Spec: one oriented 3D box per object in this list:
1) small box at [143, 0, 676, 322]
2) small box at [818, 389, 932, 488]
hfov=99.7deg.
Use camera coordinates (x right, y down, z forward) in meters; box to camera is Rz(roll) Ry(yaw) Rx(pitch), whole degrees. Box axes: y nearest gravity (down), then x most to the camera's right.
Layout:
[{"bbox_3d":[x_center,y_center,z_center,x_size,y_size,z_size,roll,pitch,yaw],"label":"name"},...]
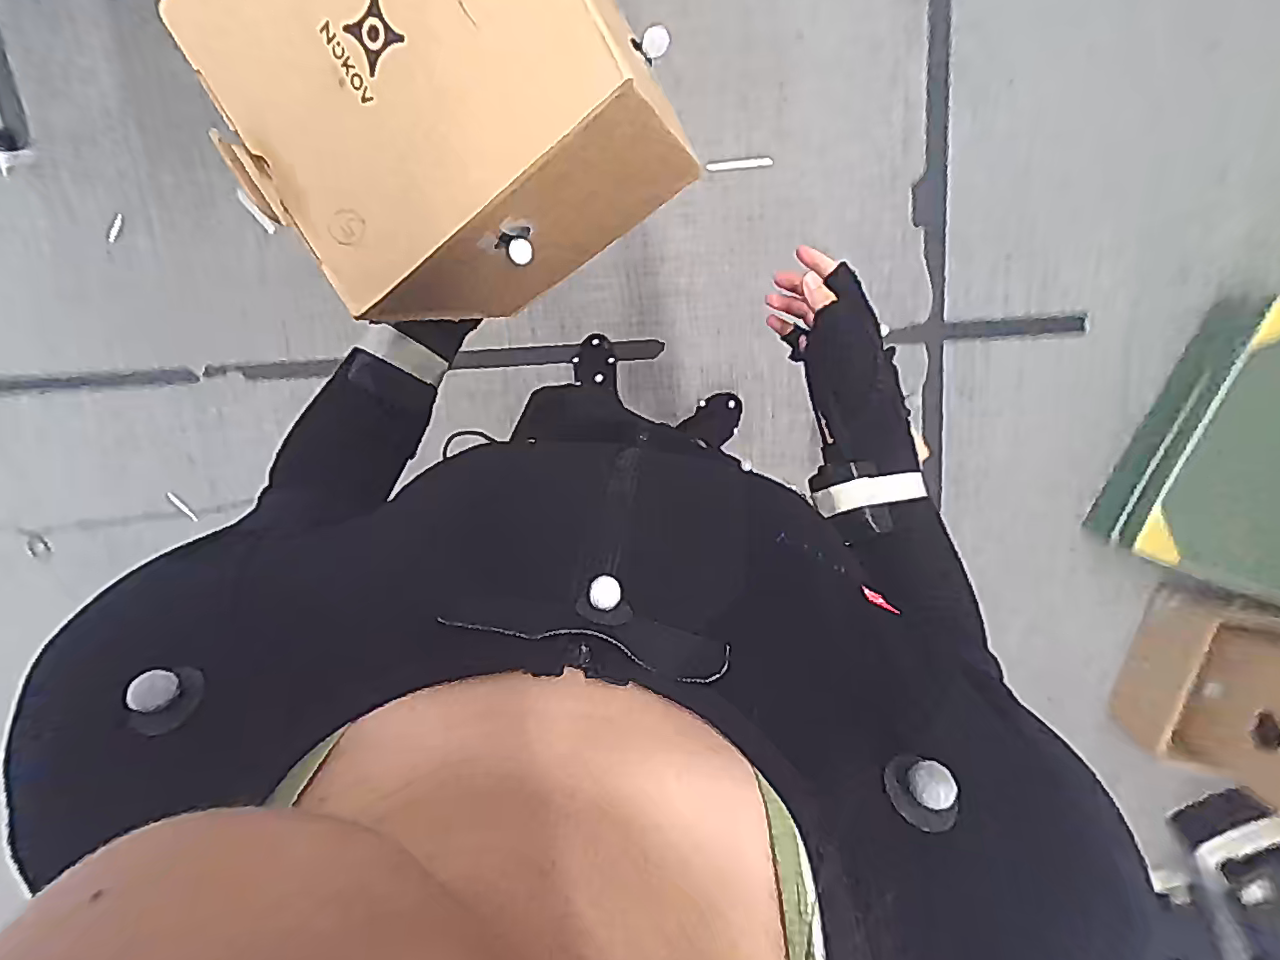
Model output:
[{"bbox_3d":[-0.104,-0.207,0.304,0.179,0.176,0.168,-28,98,24],"label":"small box"},{"bbox_3d":[0.561,-0.108,1.319,0.168,0.176,0.179,-35,98,13],"label":"small box"}]
